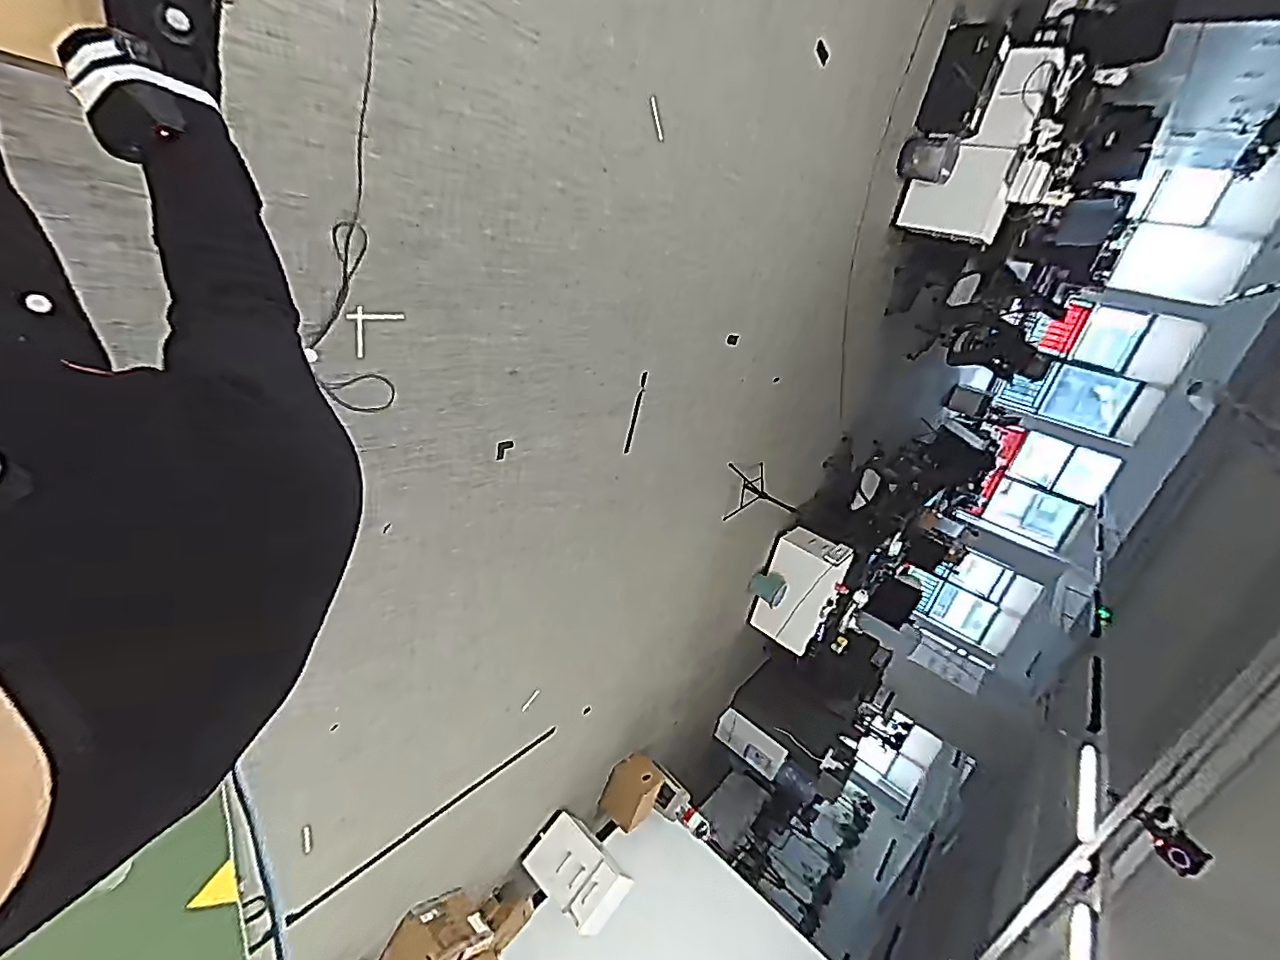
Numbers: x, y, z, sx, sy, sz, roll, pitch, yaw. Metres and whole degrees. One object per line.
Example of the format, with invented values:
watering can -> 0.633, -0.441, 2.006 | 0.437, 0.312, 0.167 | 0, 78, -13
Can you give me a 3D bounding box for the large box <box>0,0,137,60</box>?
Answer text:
large box -> -0.608, -0.486, 0.297 | 0.408, 0.320, 0.320 | -18, 130, -49
